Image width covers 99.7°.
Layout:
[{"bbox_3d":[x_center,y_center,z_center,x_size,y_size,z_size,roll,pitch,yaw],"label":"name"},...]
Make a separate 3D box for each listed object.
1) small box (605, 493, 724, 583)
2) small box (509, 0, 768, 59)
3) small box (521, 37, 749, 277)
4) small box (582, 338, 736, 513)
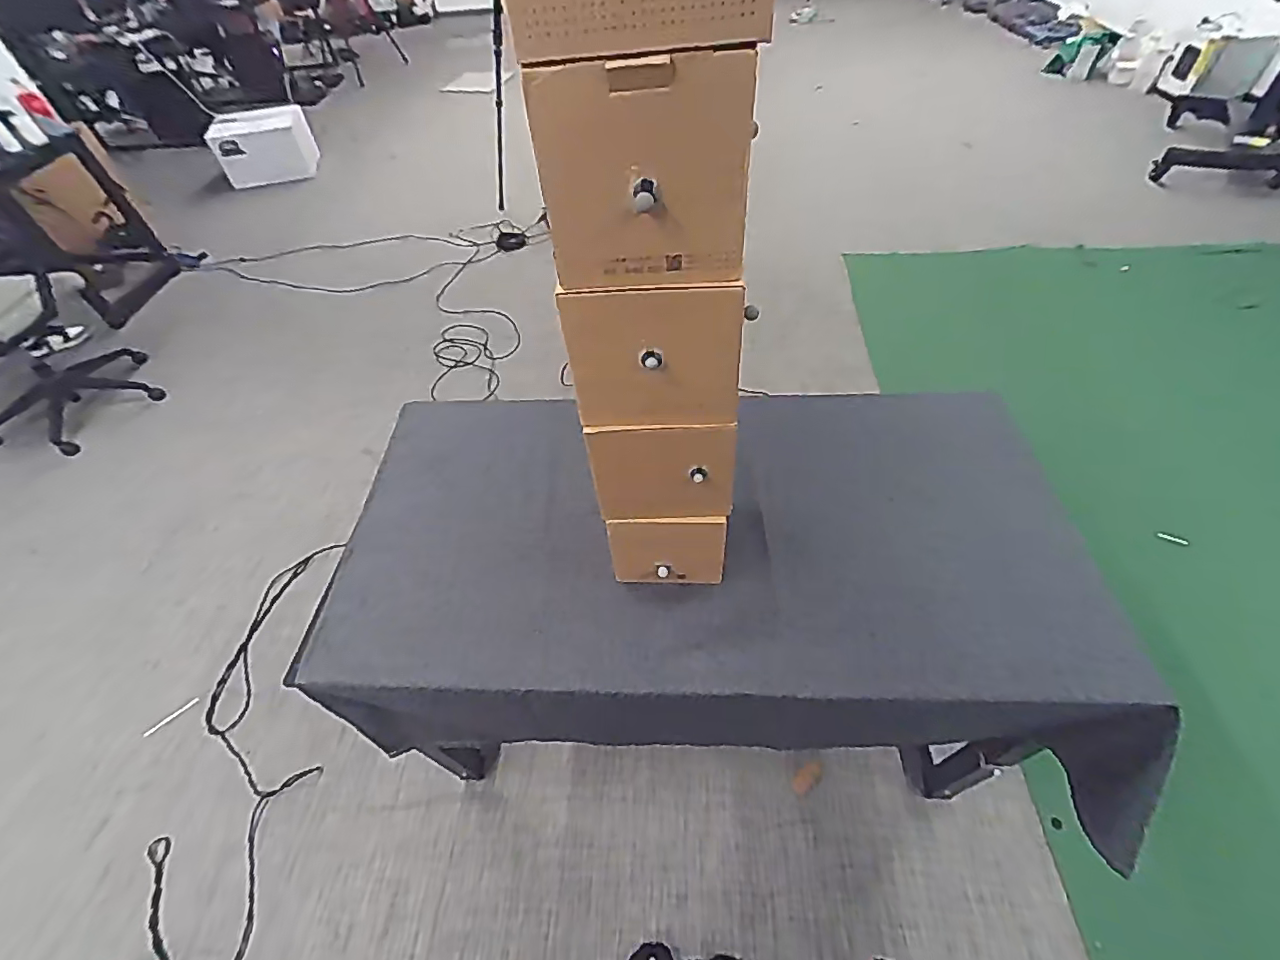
[{"bbox_3d":[0.042,0.039,0.841,0.168,0.176,0.179,0,50,5],"label":"small box"},{"bbox_3d":[-0.003,-0.405,0.362,0.179,0.176,0.168,-1,48,5],"label":"small box"},{"bbox_3d":[0.005,-0.298,0.488,0.168,0.176,0.179,-1,49,4],"label":"small box"},{"bbox_3d":[0.027,-0.069,0.720,0.179,0.176,0.168,-2,48,4],"label":"small box"}]
